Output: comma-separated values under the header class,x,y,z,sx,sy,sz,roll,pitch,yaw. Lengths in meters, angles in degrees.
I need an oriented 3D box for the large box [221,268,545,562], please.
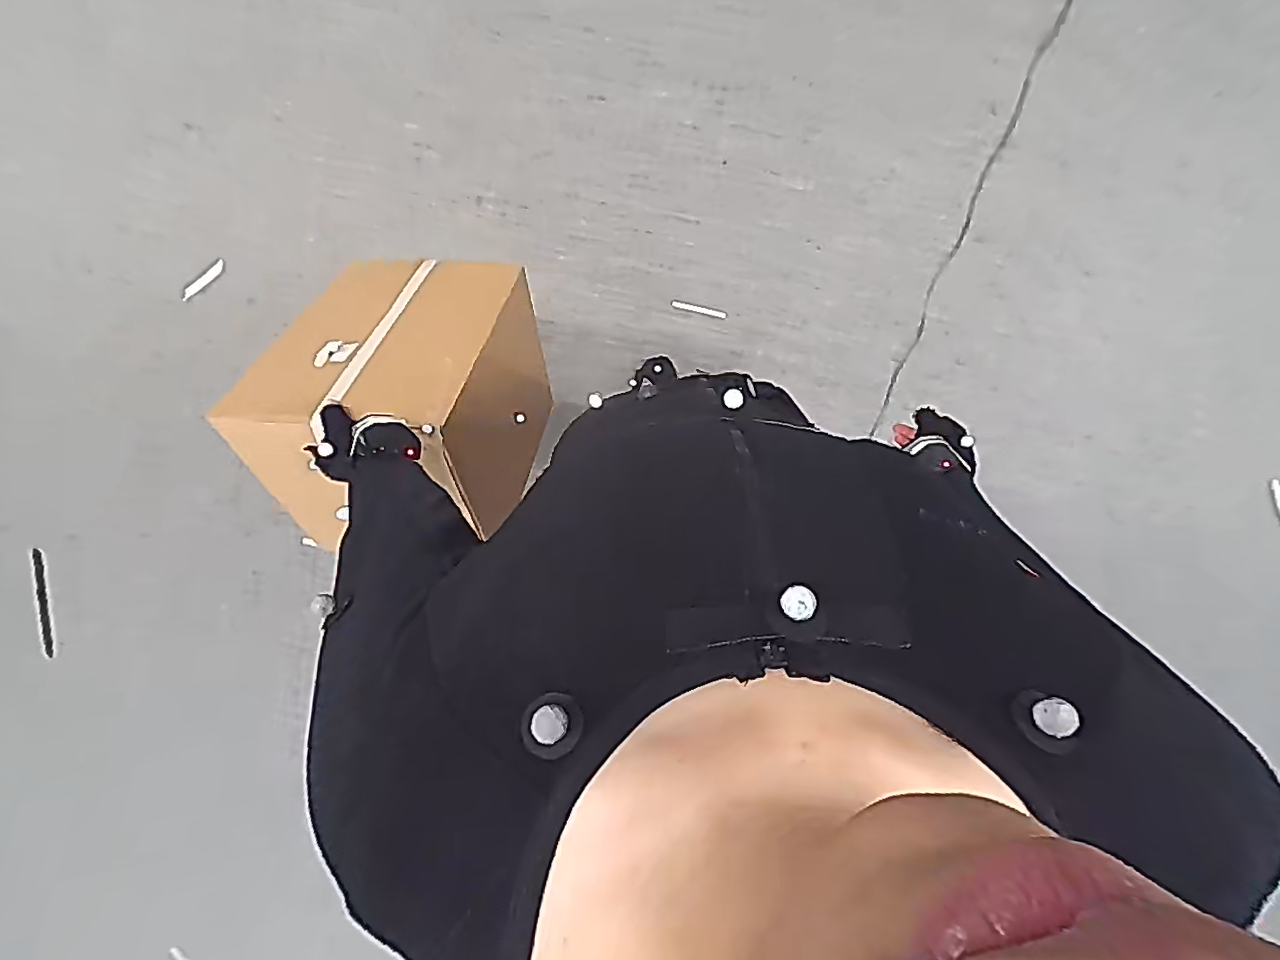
class,x,y,z,sx,sy,sz,roll,pitch,yaw
large box,-0.374,-0.116,0.929,0.320,0.408,0.320,3,141,7
